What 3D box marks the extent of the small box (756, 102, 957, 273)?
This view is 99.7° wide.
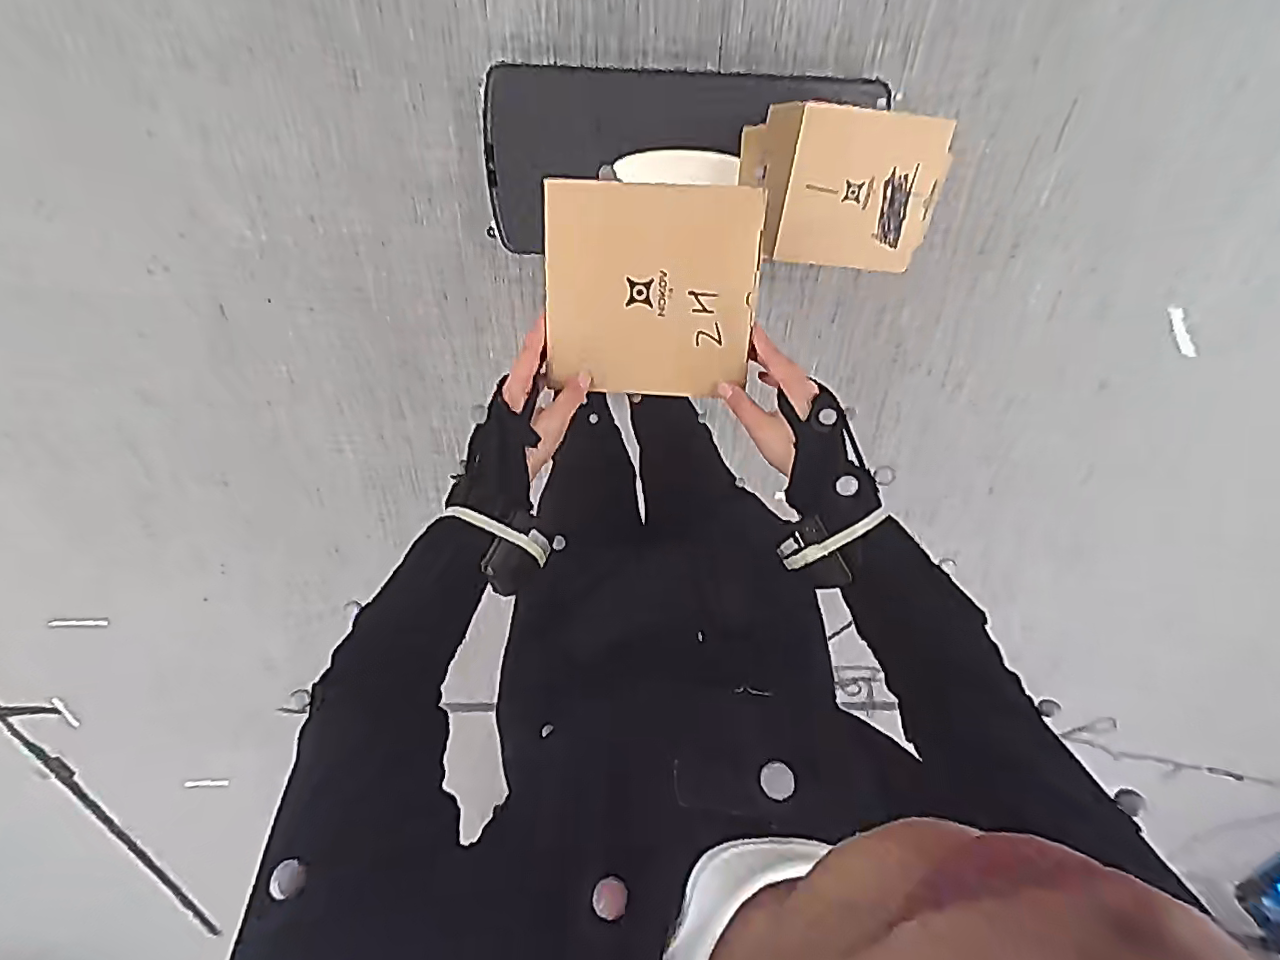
[{"bbox_3d":[0.256,-0.379,0.700,0.179,0.176,0.168,4,122,-5],"label":"small box"}]

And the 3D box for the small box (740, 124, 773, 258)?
[{"bbox_3d":[0.252,-0.454,0.847,0.168,0.176,0.179,-1,123,-2],"label":"small box"}]

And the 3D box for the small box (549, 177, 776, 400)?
[{"bbox_3d":[0.018,-0.175,0.513,0.179,0.176,0.168,3,109,2],"label":"small box"}]
